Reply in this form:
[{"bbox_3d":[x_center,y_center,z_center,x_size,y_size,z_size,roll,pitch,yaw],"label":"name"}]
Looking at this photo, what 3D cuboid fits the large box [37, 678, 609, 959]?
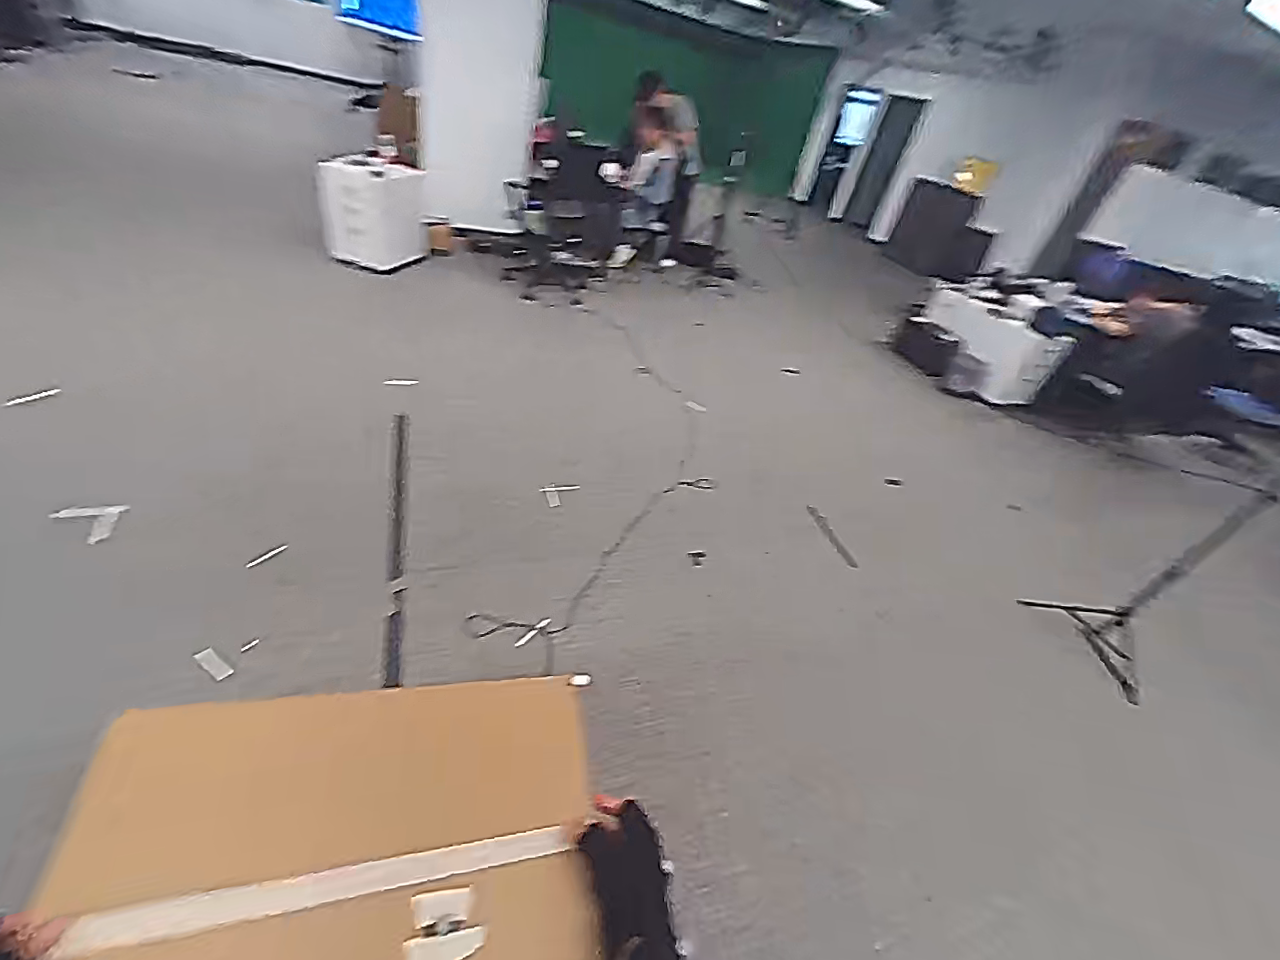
[{"bbox_3d":[-0.281,0.435,0.547,0.408,0.320,0.320,3,46,-23],"label":"large box"}]
